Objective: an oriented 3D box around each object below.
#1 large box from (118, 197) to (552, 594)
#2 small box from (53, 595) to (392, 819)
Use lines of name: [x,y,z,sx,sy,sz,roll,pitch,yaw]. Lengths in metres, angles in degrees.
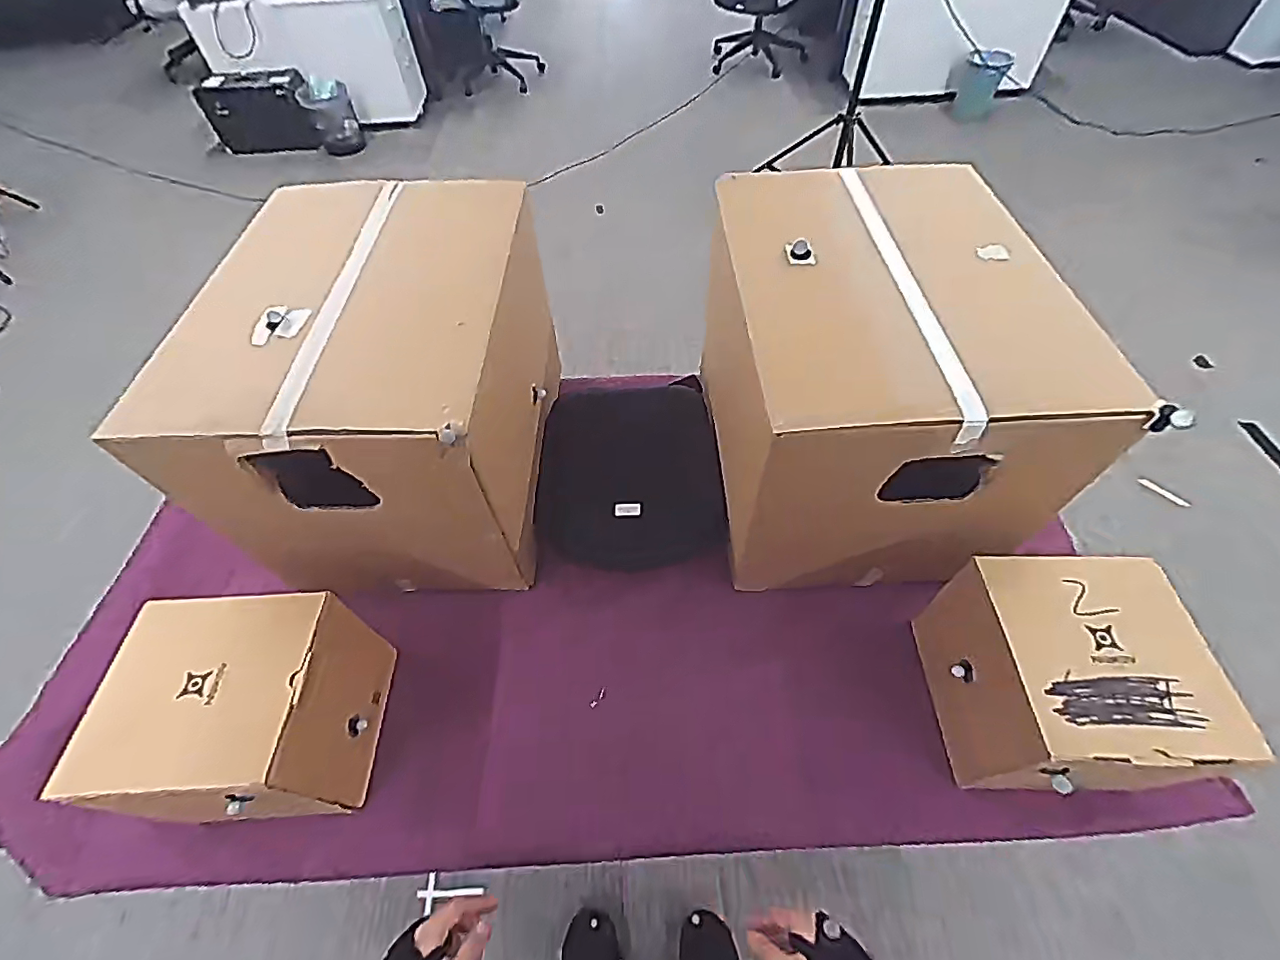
large box: [-0.294,-0.101,0.688,0.320,0.320,0.408,-2,57,2]
small box: [-0.380,0.229,0.538,0.179,0.176,0.168,-4,53,-1]
